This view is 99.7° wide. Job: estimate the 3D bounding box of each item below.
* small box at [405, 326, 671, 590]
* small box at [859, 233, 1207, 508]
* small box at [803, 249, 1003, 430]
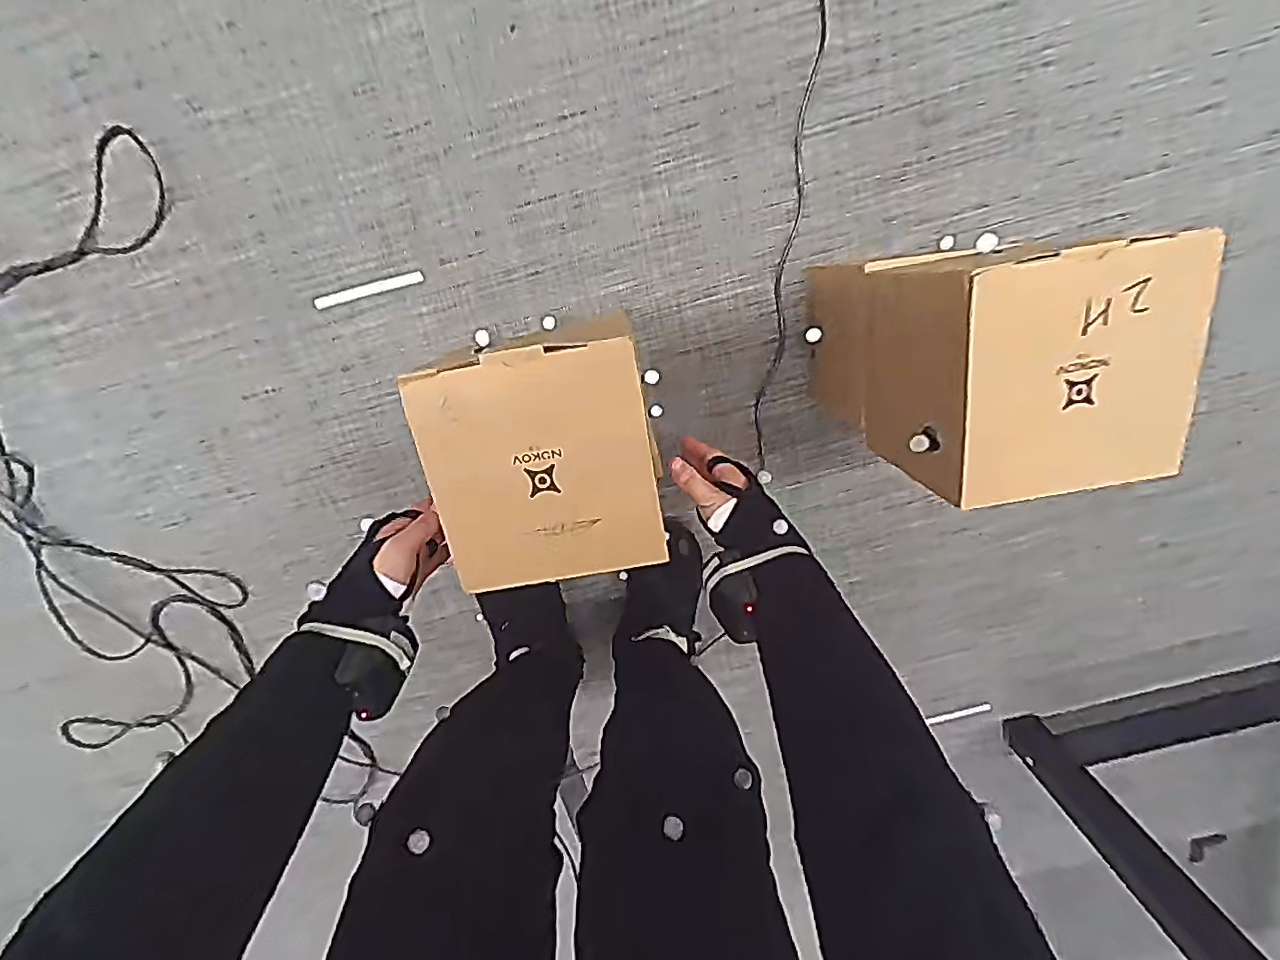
[{"bbox_3d":[-0.072,-0.033,0.472,0.168,0.176,0.179,-10,111,2],"label":"small box"},{"bbox_3d":[0.302,-0.098,0.460,0.168,0.176,0.179,-10,110,0],"label":"small box"},{"bbox_3d":[0.298,-0.165,0.611,0.179,0.176,0.168,-7,110,1],"label":"small box"}]
